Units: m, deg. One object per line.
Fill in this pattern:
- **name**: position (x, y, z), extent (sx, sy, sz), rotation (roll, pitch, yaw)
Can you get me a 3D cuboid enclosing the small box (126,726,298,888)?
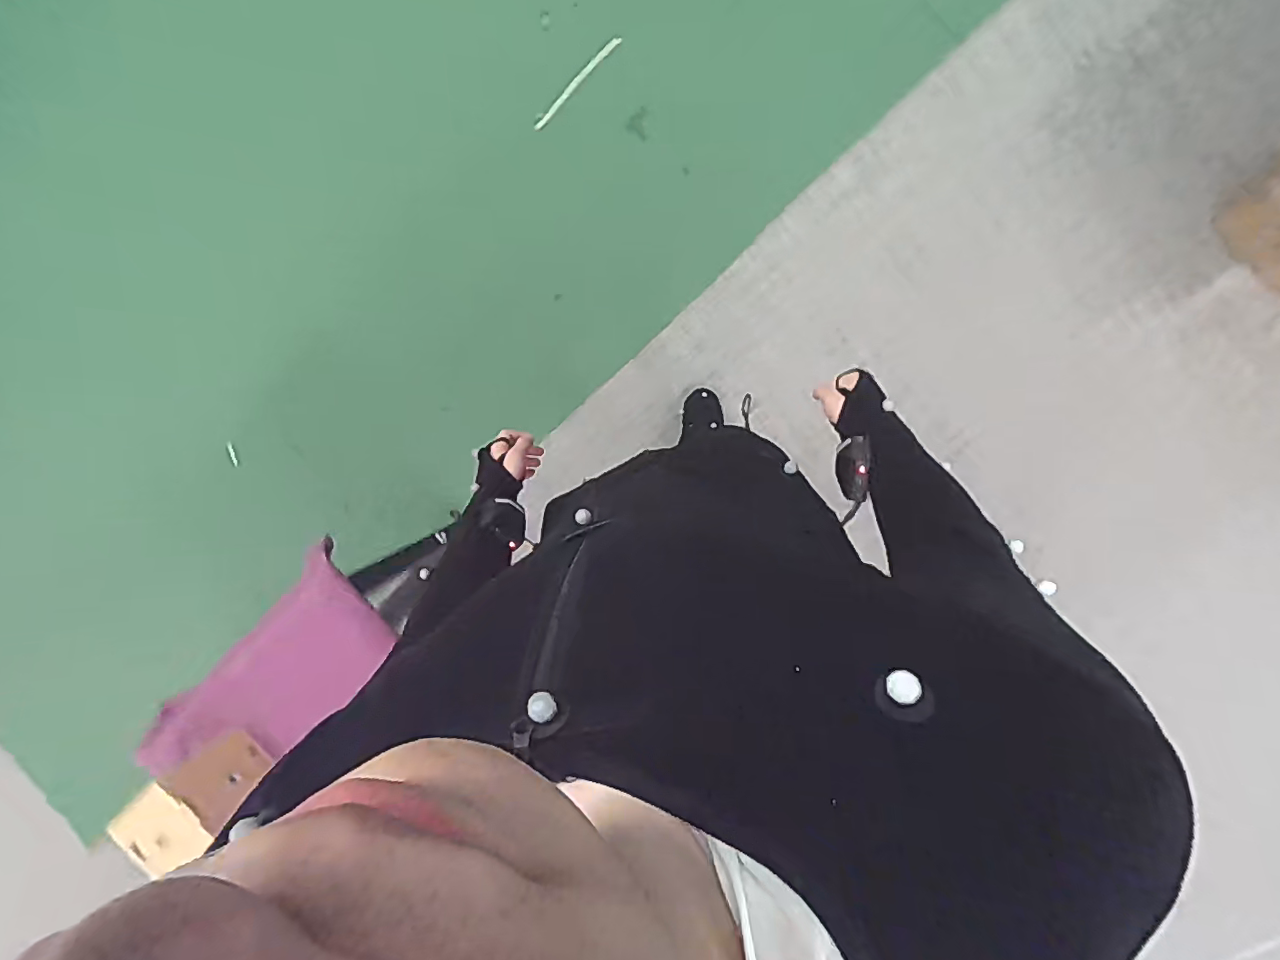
- **small box**: position (-0.813, 0.622, 1.050), extent (0.179, 0.176, 0.168), rotation (-43, 91, 13)
